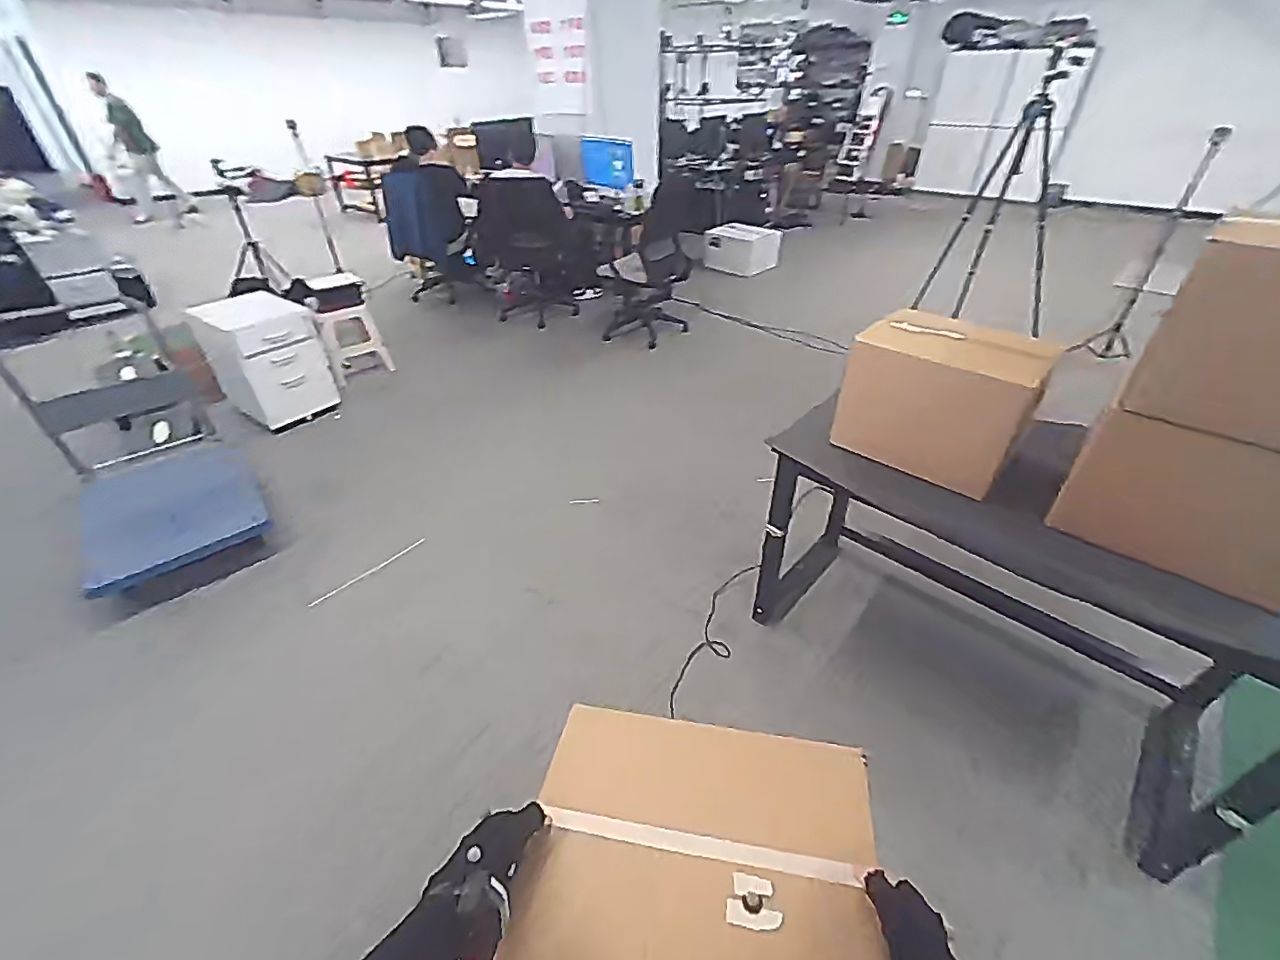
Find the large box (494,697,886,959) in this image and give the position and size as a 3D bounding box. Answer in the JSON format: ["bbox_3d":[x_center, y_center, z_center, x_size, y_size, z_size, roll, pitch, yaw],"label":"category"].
[{"bbox_3d":[0.072,0.541,0.725,0.408,0.320,0.320,4,35,11],"label":"large box"}]
